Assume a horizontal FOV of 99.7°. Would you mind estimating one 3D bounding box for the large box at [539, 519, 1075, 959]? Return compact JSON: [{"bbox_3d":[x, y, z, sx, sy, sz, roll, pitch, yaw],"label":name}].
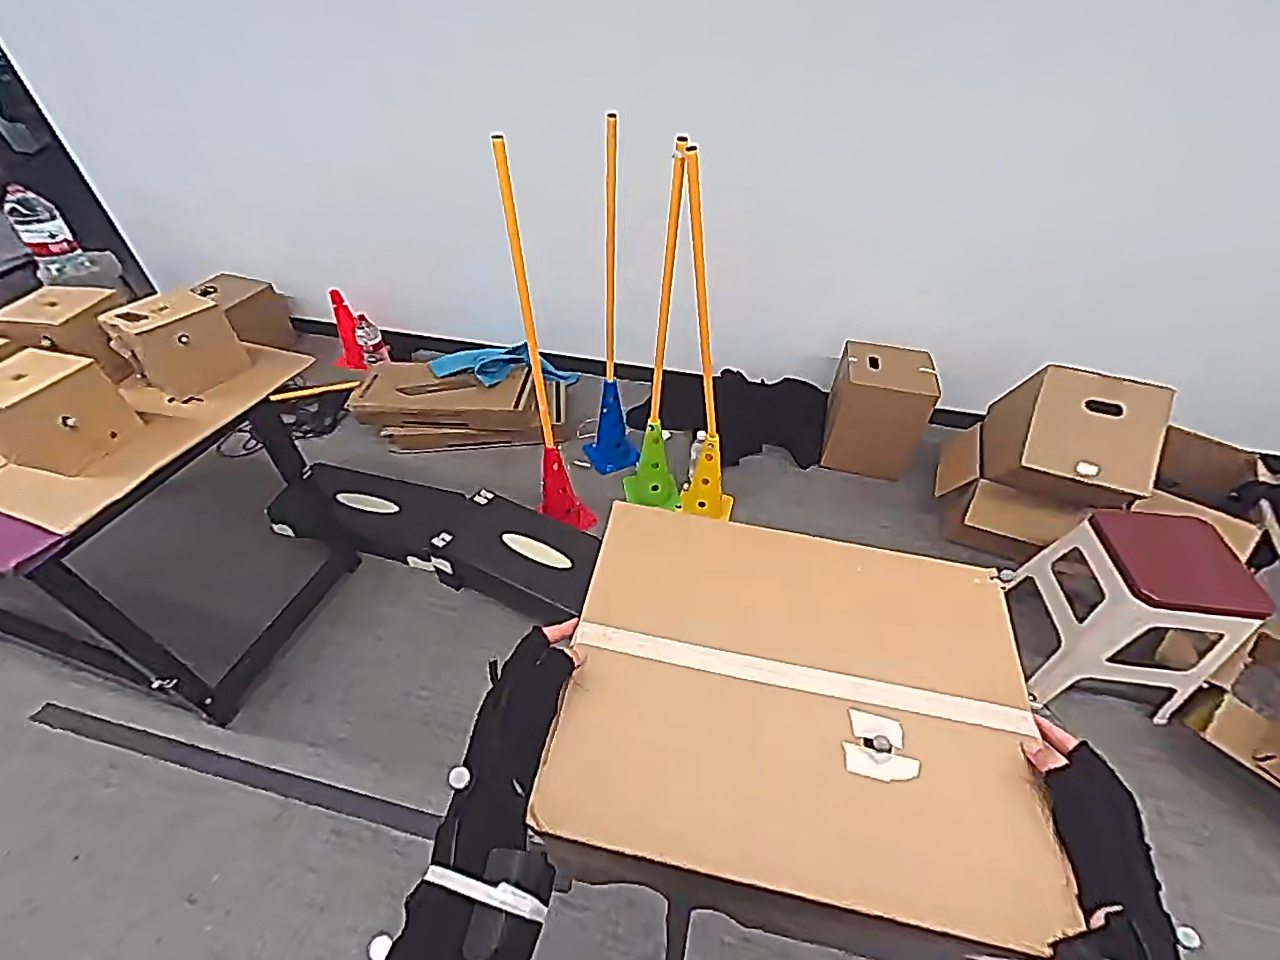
[{"bbox_3d":[0.135,0.283,0.604,0.408,0.320,0.320,10,52,6],"label":"large box"}]
